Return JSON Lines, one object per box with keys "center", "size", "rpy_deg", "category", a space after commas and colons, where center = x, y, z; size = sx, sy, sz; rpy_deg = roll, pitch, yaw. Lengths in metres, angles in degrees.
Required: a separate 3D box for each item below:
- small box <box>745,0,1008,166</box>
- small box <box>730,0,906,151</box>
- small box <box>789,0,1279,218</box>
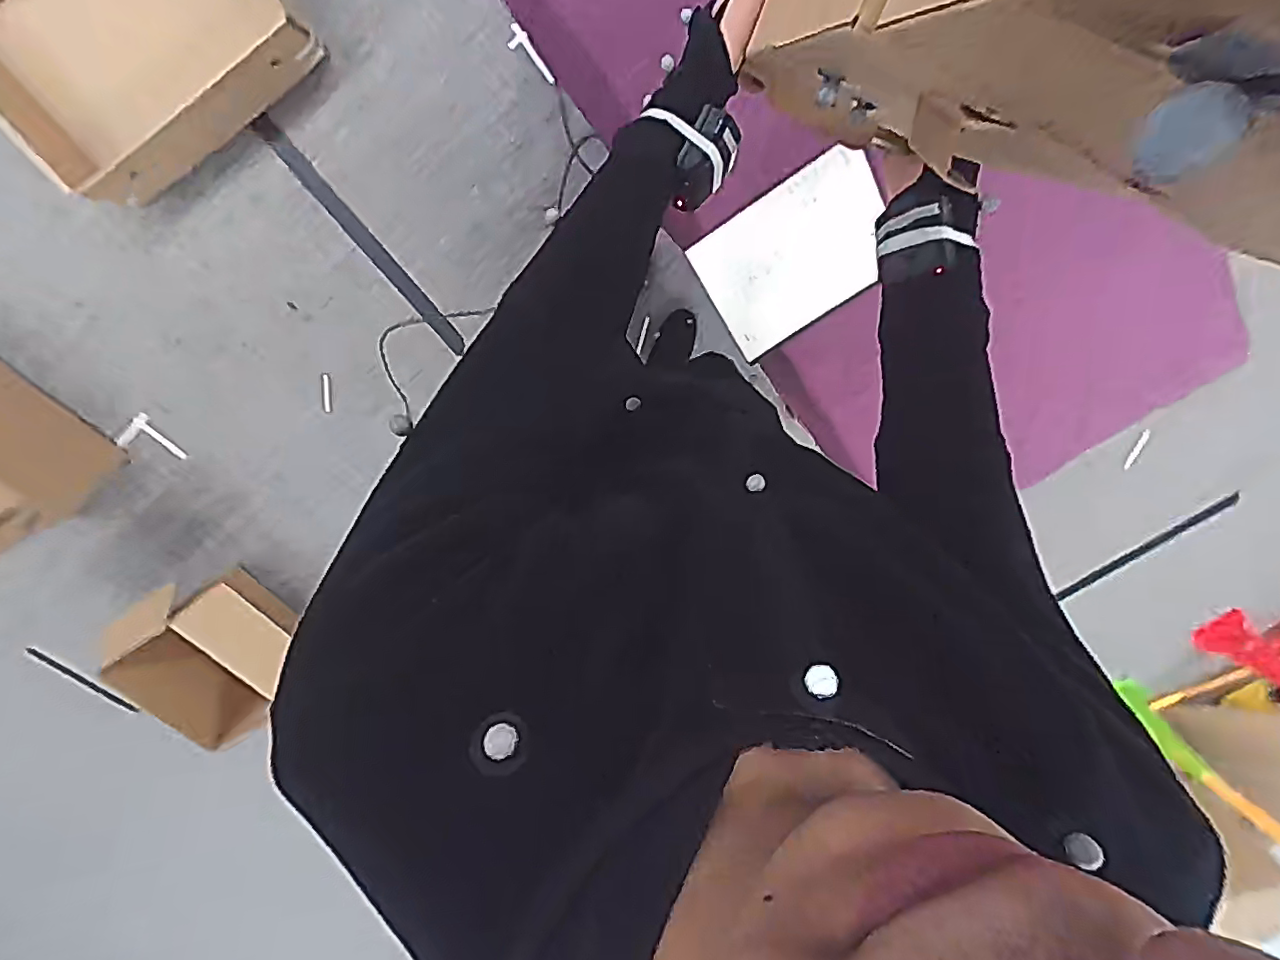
{"center": [0.181, -0.324, 0.335], "size": [0.179, 0.176, 0.168], "rpy_deg": [18, 126, -11], "category": "small box"}
{"center": [0.188, -0.421, 0.468], "size": [0.168, 0.176, 0.179], "rpy_deg": [20, 124, -11], "category": "small box"}
{"center": [0.172, -0.230, 0.200], "size": [0.168, 0.176, 0.179], "rpy_deg": [17, 124, -10], "category": "small box"}
